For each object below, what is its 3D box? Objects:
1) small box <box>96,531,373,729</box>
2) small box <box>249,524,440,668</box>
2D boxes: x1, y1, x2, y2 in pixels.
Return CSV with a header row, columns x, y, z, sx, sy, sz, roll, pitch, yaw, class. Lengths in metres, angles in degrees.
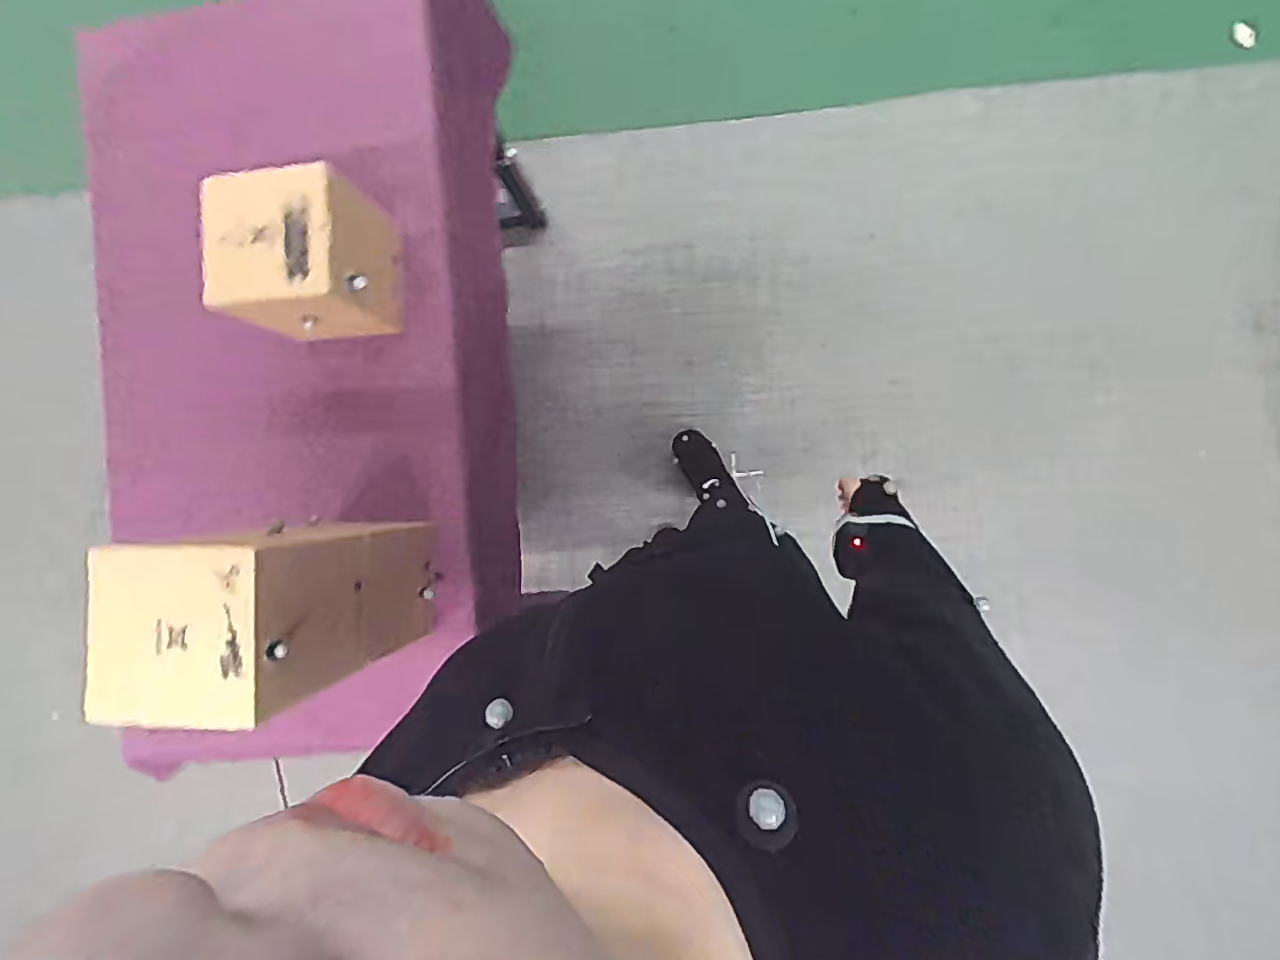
x,y,z,sx,sy,sz,roll,pitch,yaw,class
-0.420,0.146,0.581,0.179,0.176,0.168,-1,90,8,small box
-0.400,0.149,0.745,0.179,0.176,0.168,-1,89,7,small box
